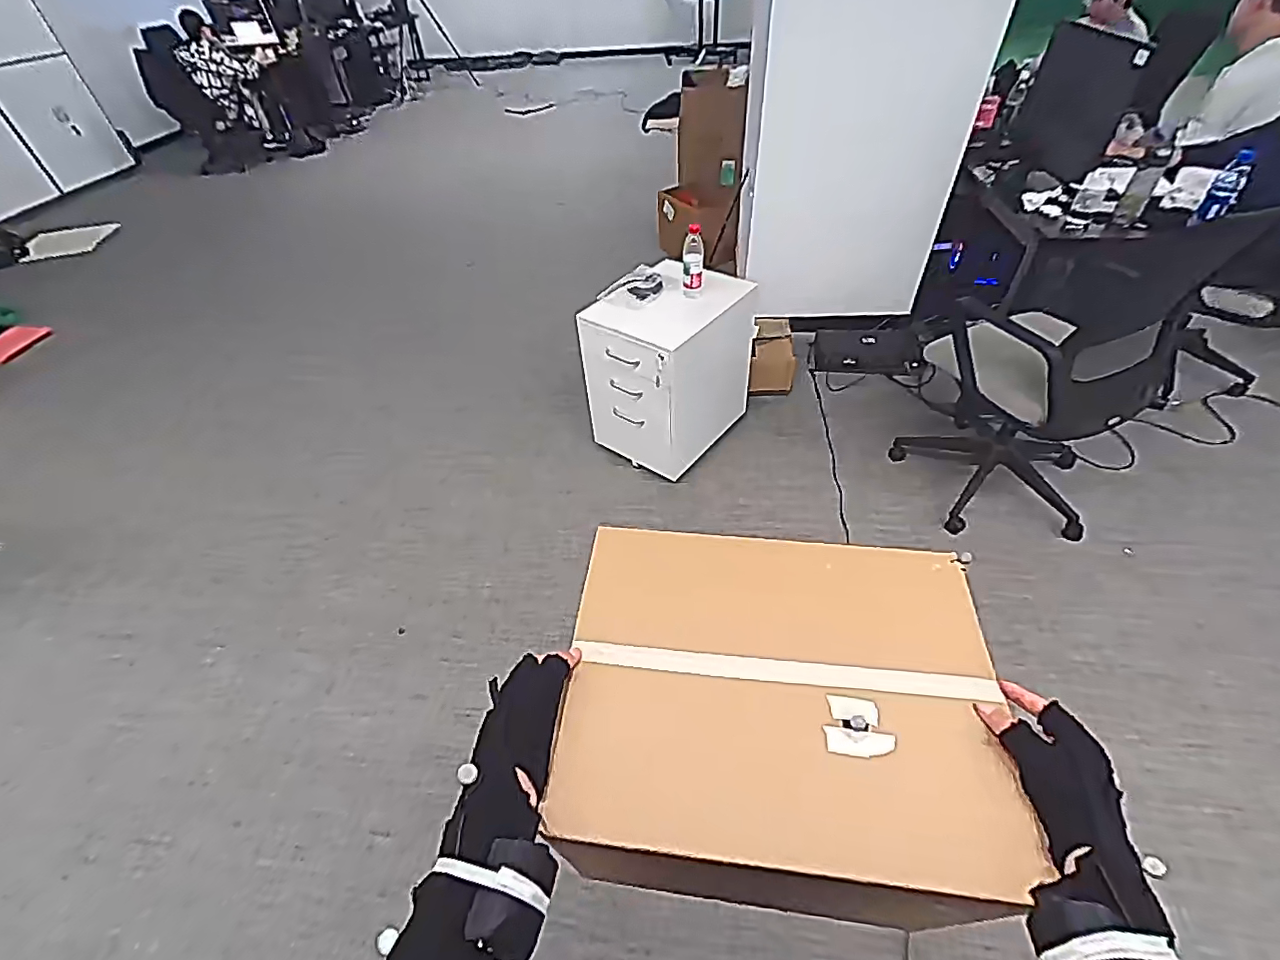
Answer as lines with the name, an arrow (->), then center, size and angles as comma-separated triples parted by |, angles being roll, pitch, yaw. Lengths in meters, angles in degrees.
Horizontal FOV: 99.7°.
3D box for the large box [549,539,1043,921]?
large box -> 0.139, 0.294, 0.644 | 0.408, 0.320, 0.320 | 4, 49, 7
